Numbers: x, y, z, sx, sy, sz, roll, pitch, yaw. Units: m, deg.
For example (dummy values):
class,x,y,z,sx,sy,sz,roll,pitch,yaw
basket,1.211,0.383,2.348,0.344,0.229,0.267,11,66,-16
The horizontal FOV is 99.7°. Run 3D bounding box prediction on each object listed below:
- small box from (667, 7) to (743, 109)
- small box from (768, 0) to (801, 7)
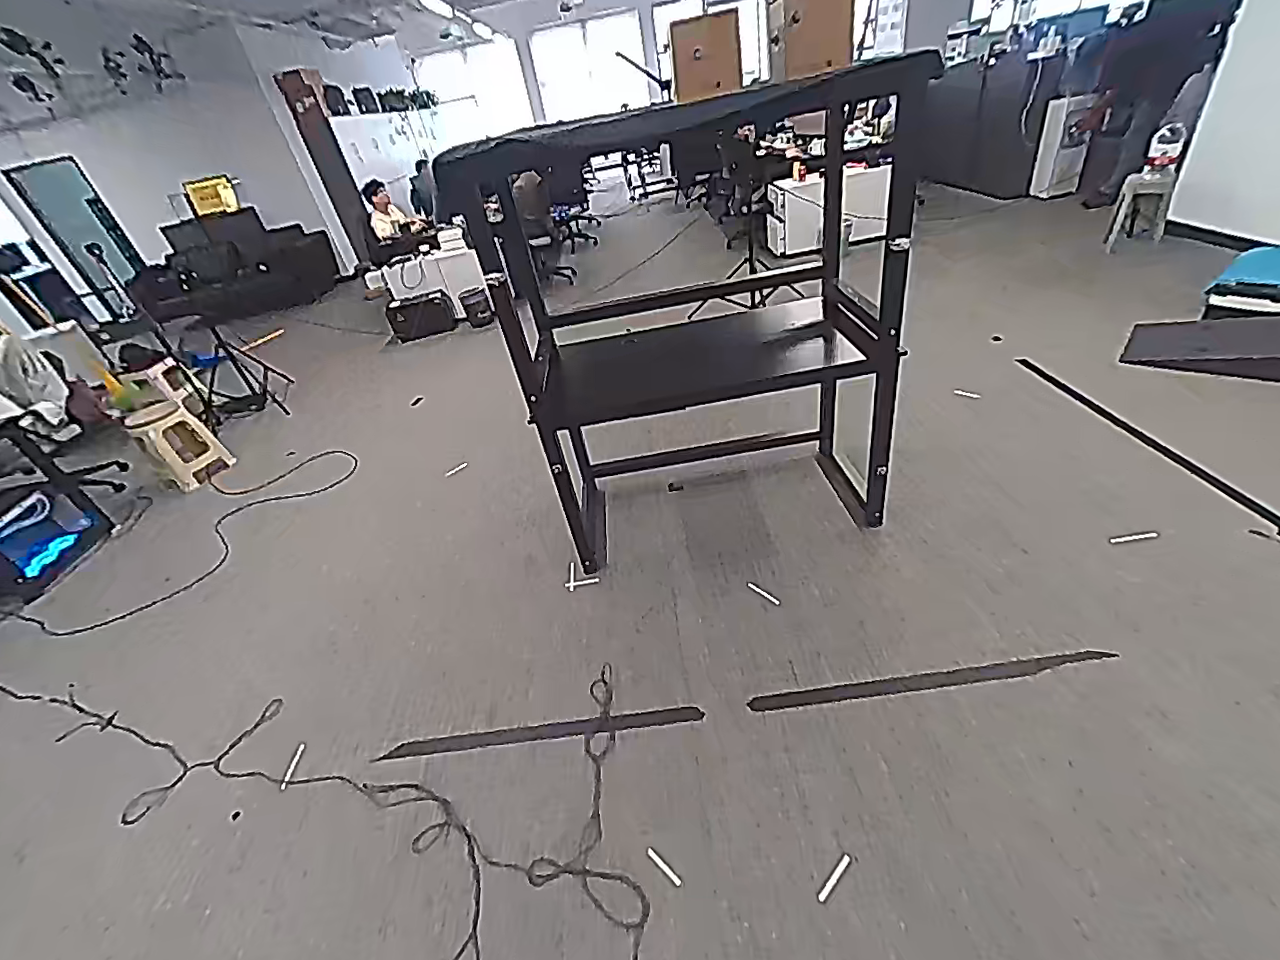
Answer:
class,x,y,z,sx,sy,sz,roll,pitch,yaw
small box,0.164,-1.055,1.366,0.168,0.176,0.179,-8,34,6
small box,0.390,-1.219,1.238,0.179,0.176,0.168,-11,33,5
